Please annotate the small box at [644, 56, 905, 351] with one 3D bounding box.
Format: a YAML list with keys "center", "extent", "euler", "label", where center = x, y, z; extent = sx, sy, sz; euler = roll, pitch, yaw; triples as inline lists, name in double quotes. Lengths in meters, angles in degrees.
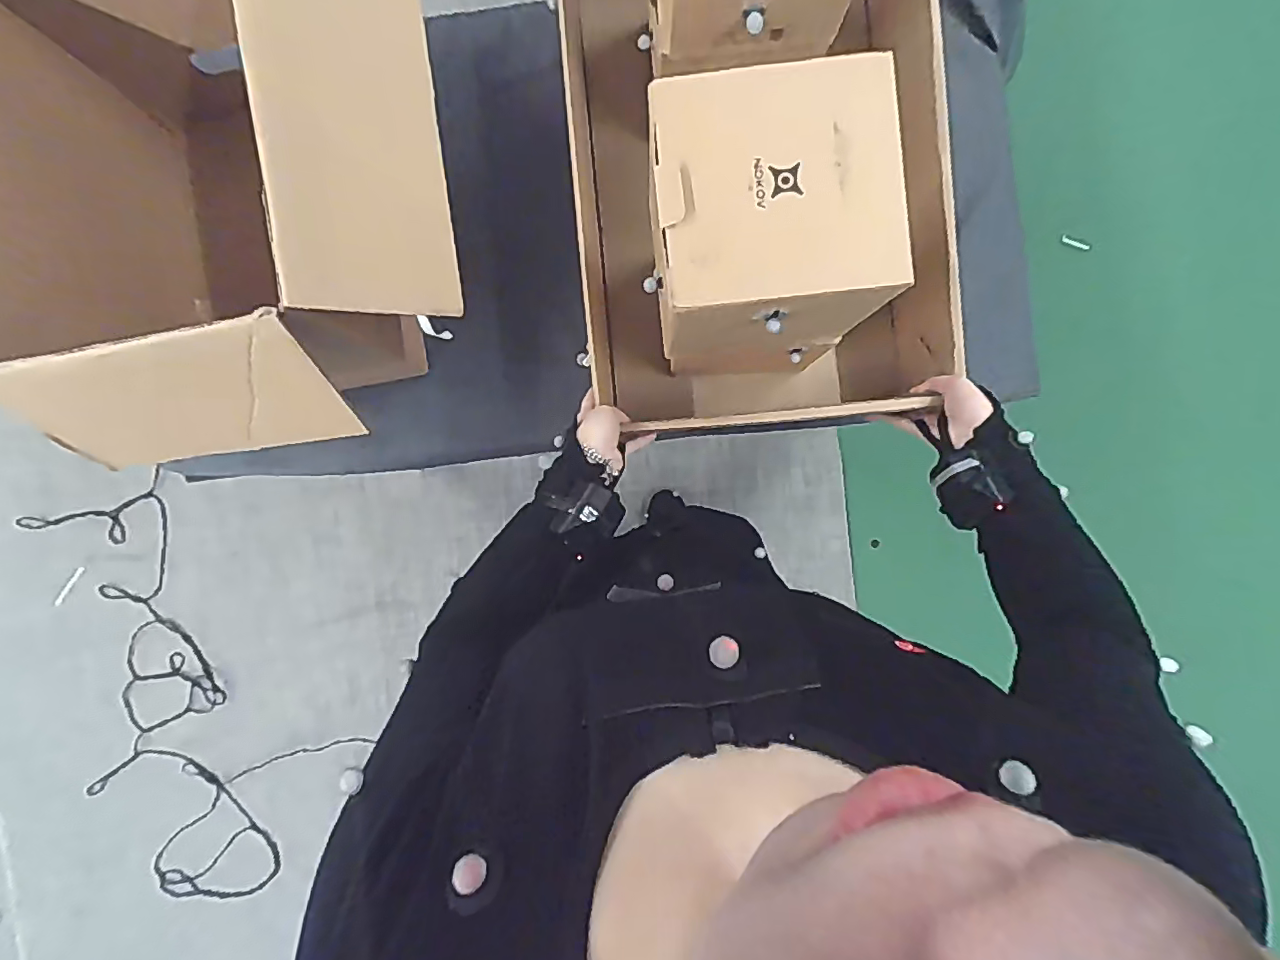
- center: [0.099, -0.215, 0.470]
  extent: [0.179, 0.176, 0.168]
  euler: [-6, 92, 1]
  label: "small box"

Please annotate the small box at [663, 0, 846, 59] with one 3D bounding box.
- center: [0.099, -0.509, 0.456]
  extent: [0.168, 0.176, 0.179]
  euler: [-5, 93, 2]
  label: "small box"
